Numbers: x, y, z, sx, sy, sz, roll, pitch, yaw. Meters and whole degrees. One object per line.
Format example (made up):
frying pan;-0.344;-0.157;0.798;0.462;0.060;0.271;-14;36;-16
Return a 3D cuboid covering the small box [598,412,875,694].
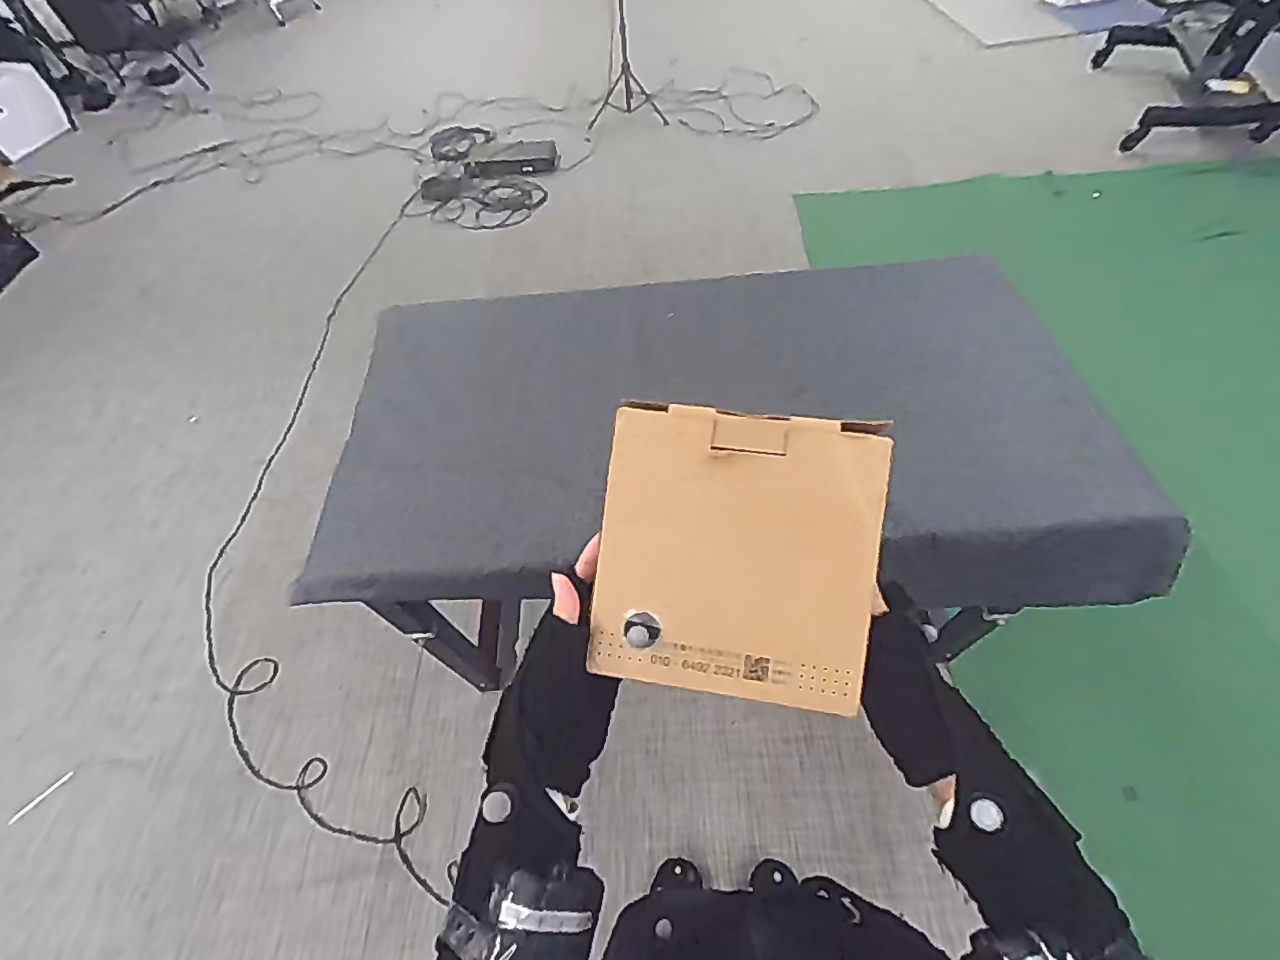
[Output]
small box;0.067;0.048;0.424;0.168;0.179;0.176;8;90;6
